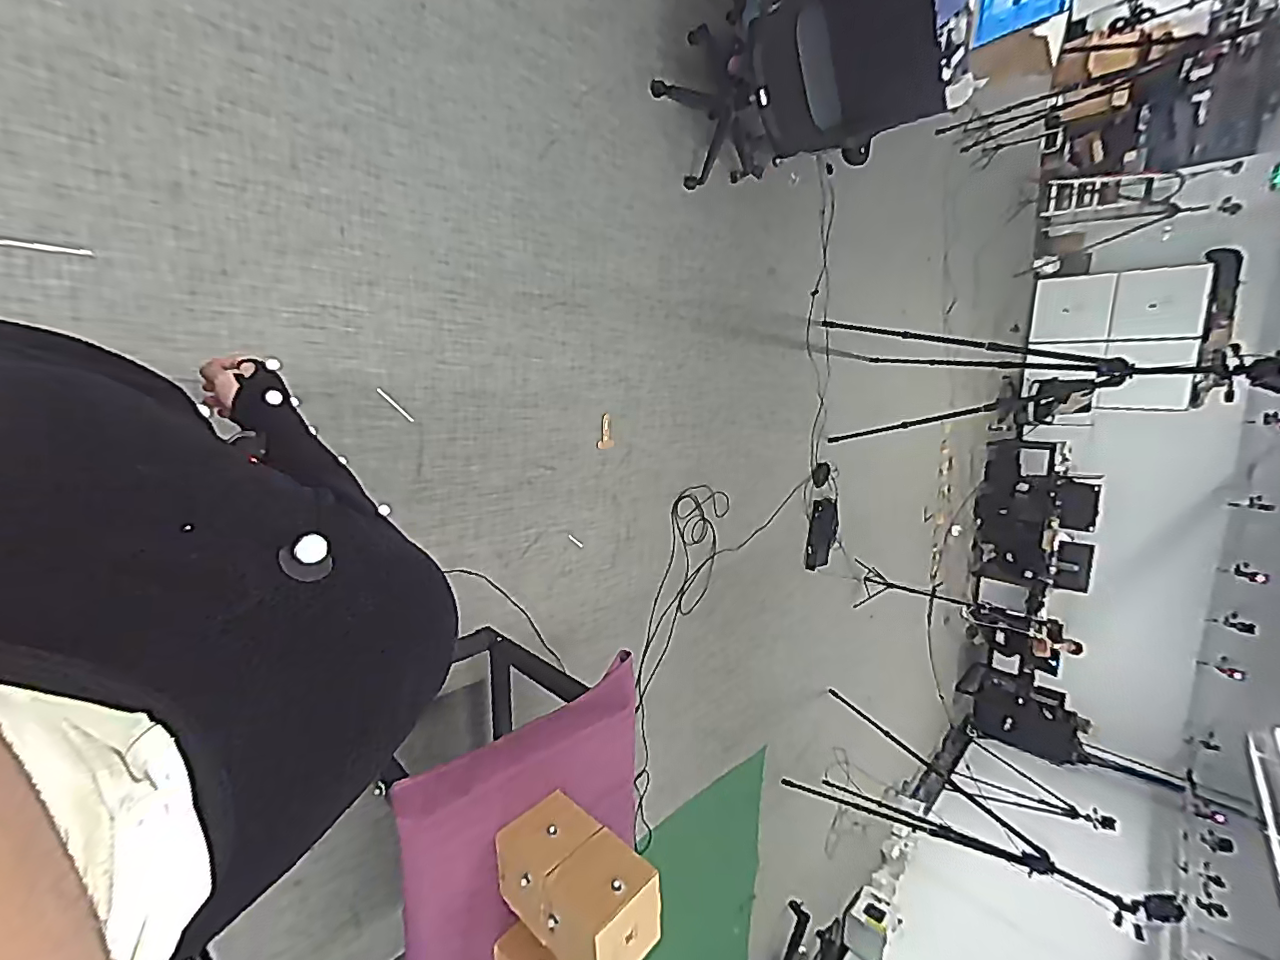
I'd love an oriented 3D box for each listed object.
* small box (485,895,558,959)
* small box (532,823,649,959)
[{"bbox_3d":[-0.238,1.110,1.254,0.179,0.176,0.168,-11,106,-45],"label":"small box"},{"bbox_3d":[-0.099,0.856,1.105,0.179,0.176,0.168,-13,107,-46],"label":"small box"}]
